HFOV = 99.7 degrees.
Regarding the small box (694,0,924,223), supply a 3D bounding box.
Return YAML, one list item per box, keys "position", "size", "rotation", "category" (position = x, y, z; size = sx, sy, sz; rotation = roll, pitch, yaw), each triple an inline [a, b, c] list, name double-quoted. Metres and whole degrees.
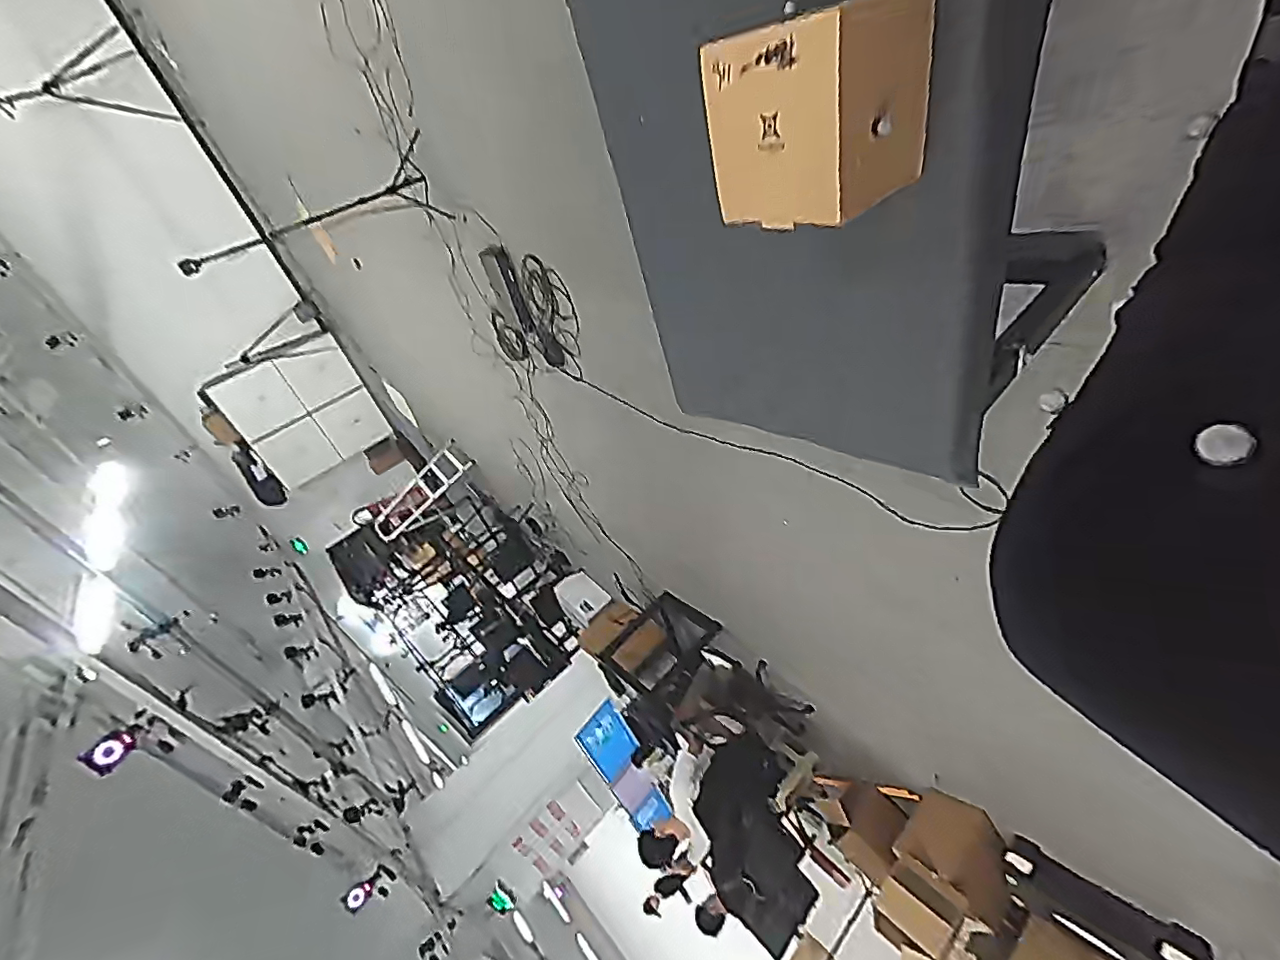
- position: [0.188, -0.406, 0.594]
  size: [0.168, 0.176, 0.179]
  rotation: [28, 147, 42]
  category: "small box"
